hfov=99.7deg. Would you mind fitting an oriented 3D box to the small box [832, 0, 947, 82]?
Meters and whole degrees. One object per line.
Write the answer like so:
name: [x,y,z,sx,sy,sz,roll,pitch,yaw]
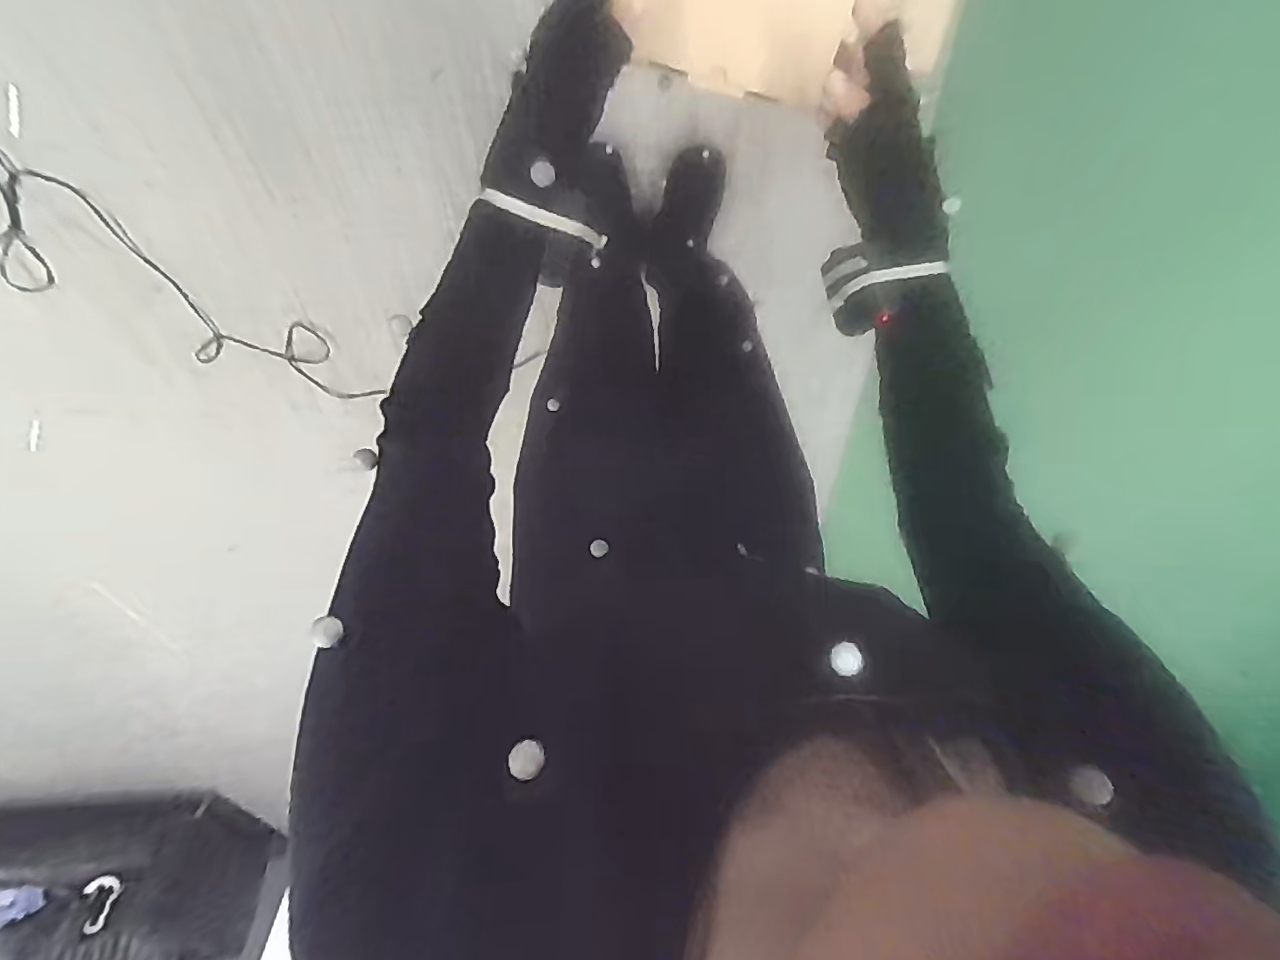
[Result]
small box: [0.358,-0.738,0.840,0.168,0.176,0.179,-2,132,-1]
